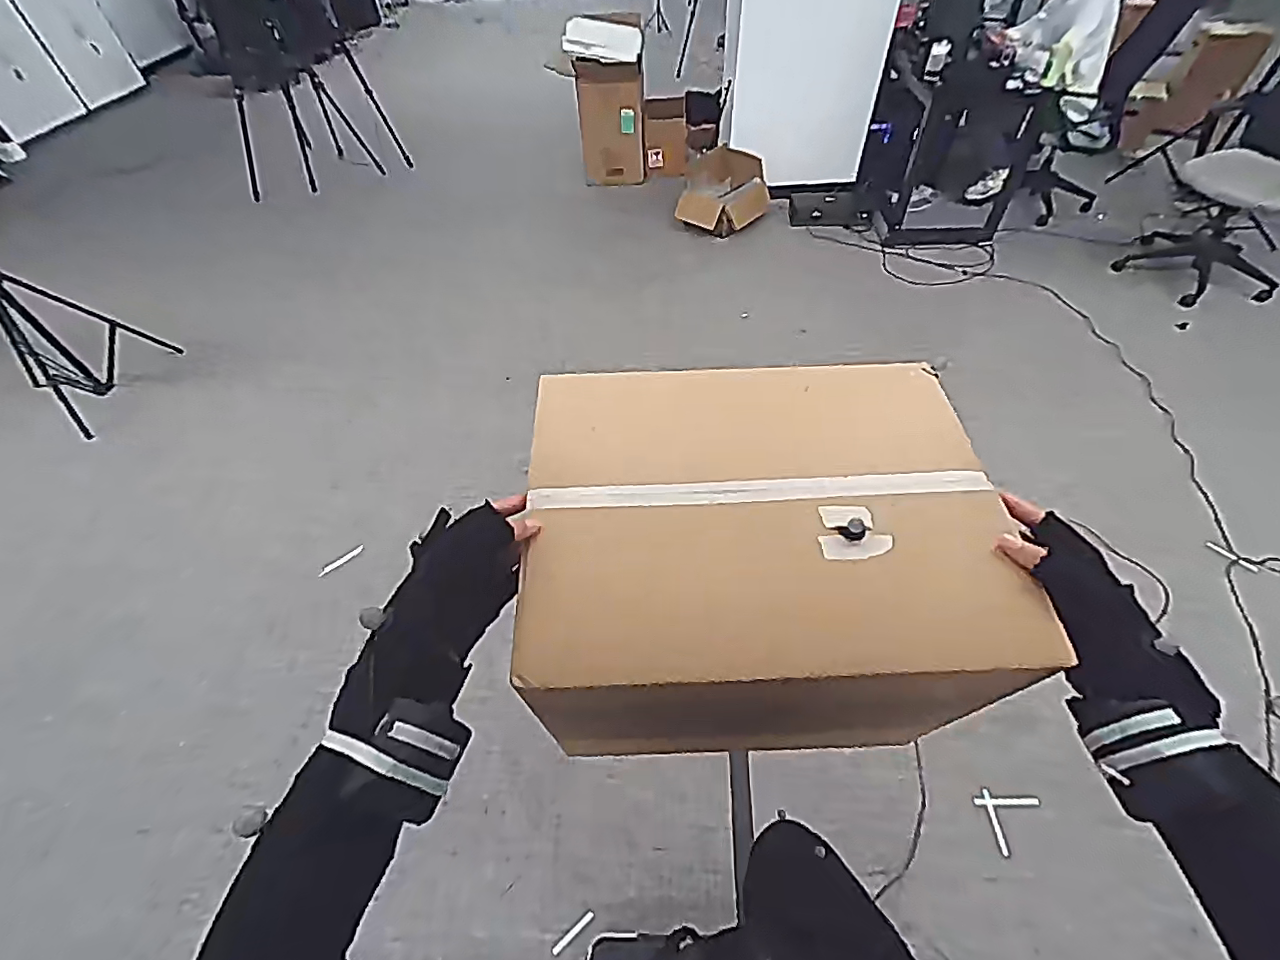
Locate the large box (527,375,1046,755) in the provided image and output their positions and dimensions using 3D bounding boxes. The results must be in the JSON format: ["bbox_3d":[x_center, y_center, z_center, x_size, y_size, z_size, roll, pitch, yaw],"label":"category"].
[{"bbox_3d":[0.104,0.106,0.610,0.408,0.320,0.320,-2,55,-1],"label":"large box"}]
